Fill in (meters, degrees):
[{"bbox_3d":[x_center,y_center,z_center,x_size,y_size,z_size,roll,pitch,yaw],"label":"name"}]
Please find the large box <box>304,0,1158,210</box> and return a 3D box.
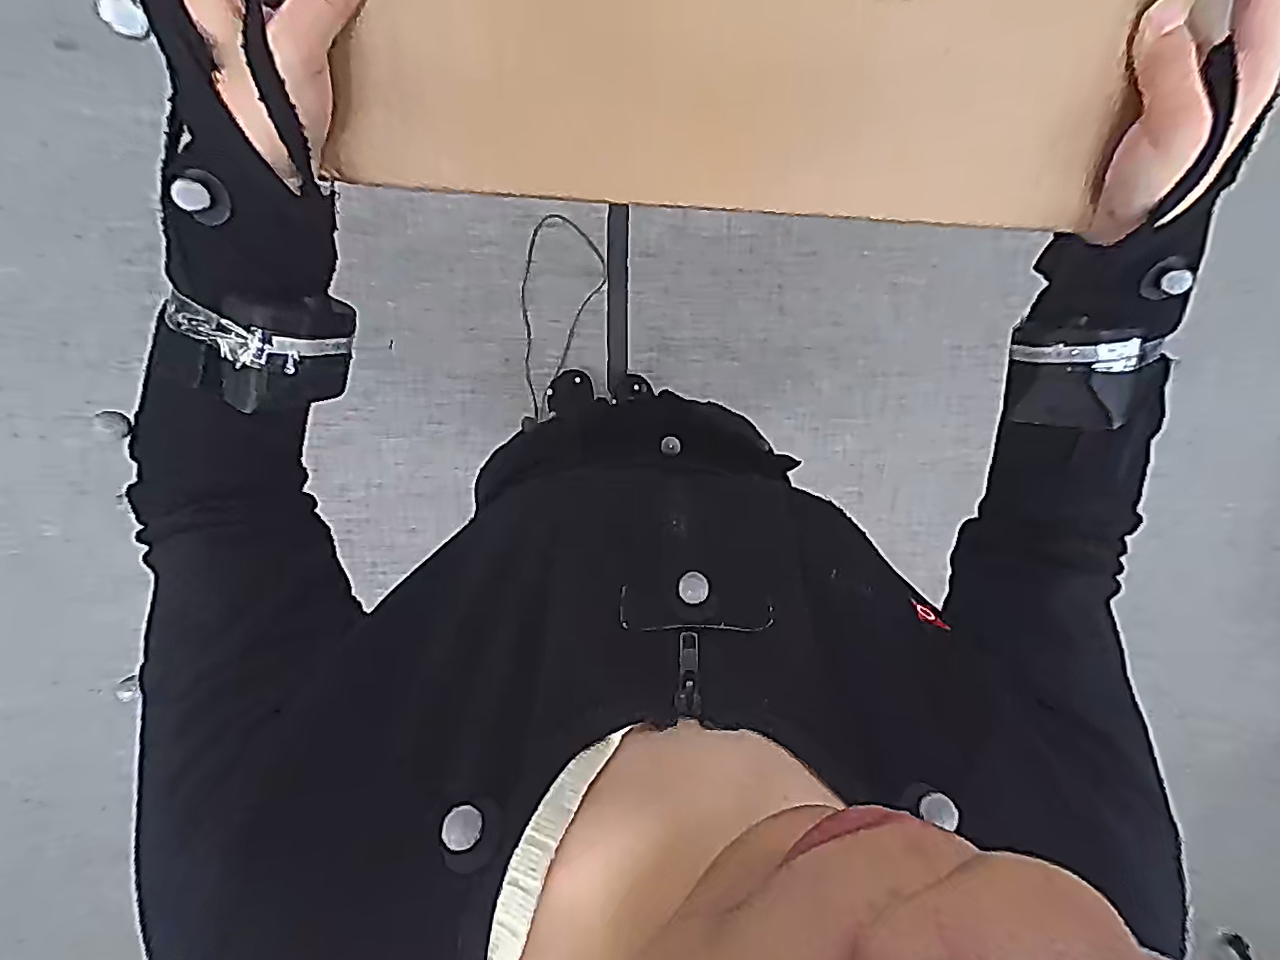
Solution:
[{"bbox_3d":[0.042,-0.362,0.338,0.408,0.320,0.320,2,122,-4],"label":"large box"}]
